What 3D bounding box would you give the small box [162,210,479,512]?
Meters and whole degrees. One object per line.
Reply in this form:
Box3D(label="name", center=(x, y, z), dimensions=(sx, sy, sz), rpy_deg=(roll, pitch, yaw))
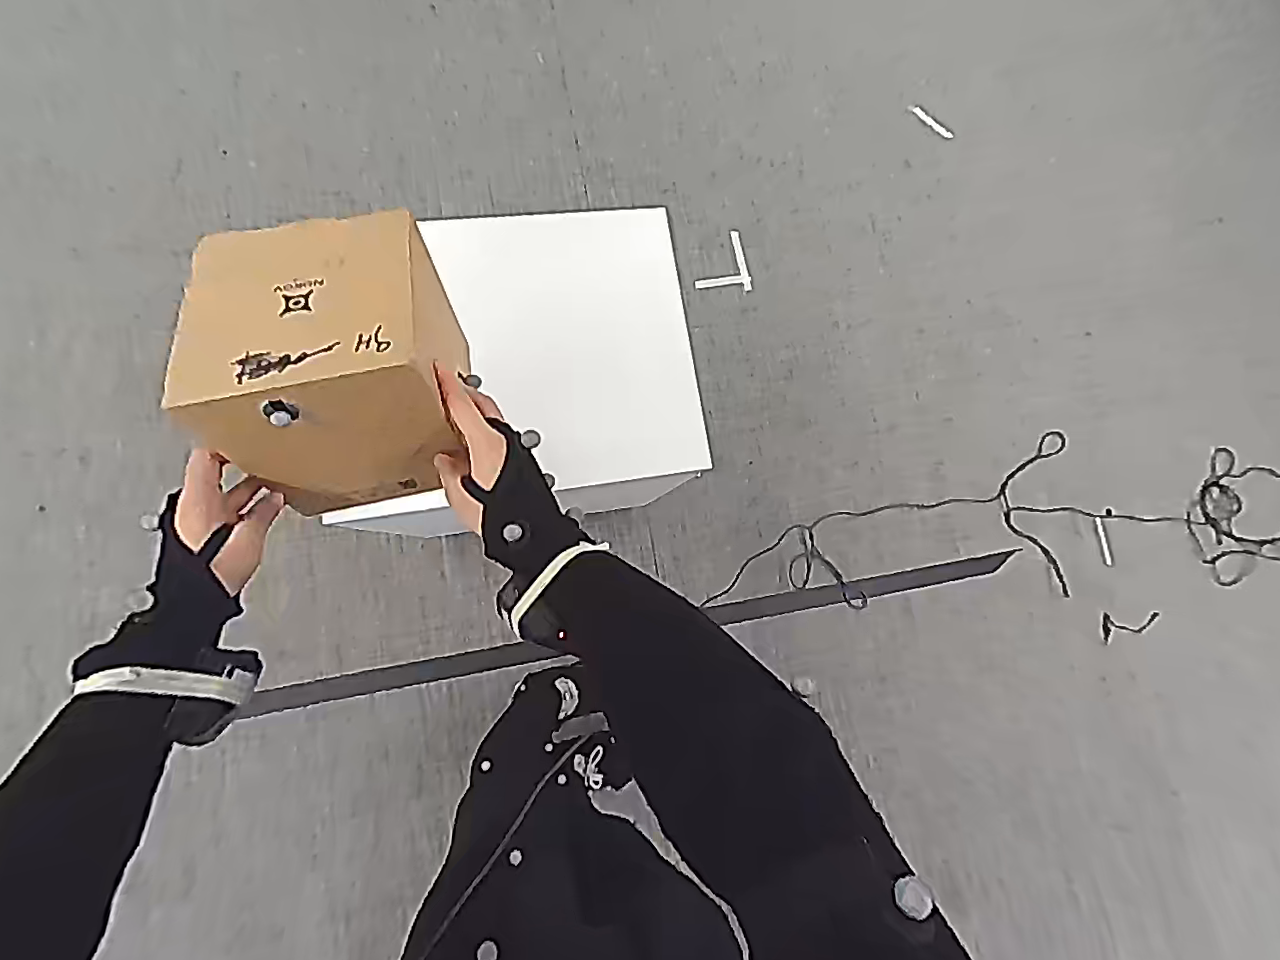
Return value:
Box3D(label="small box", center=(-0.246, -0.096, 0.466), dimensions=(0.168, 0.176, 0.179), rpy_deg=(-12, 61, -6))
